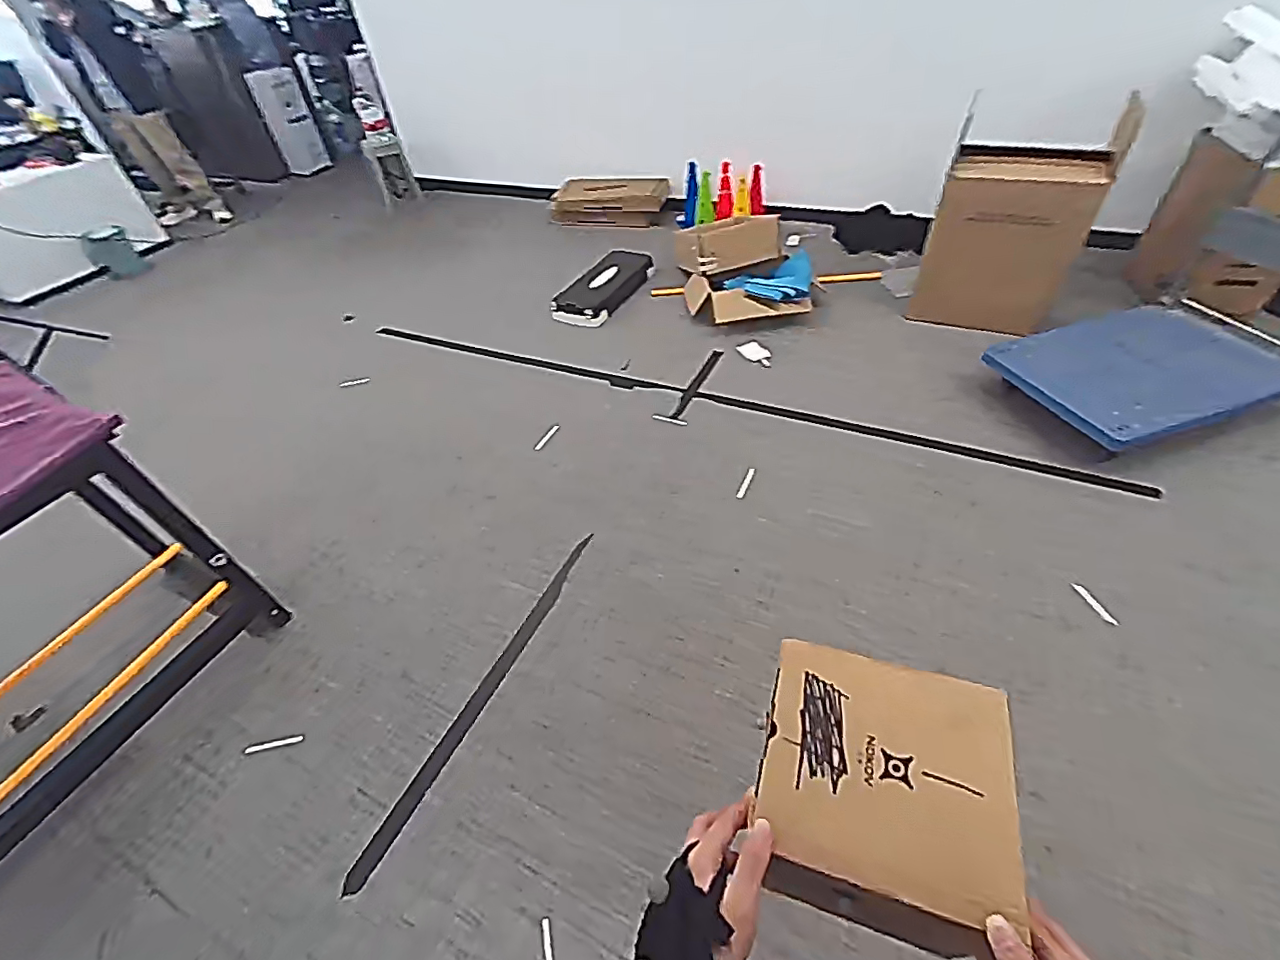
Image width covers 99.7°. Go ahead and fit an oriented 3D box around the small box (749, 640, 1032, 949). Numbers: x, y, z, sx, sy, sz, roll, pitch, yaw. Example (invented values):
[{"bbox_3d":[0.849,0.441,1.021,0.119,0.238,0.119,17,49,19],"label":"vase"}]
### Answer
[{"bbox_3d":[0.194,0.267,0.461,0.179,0.176,0.168,10,50,18],"label":"small box"}]
